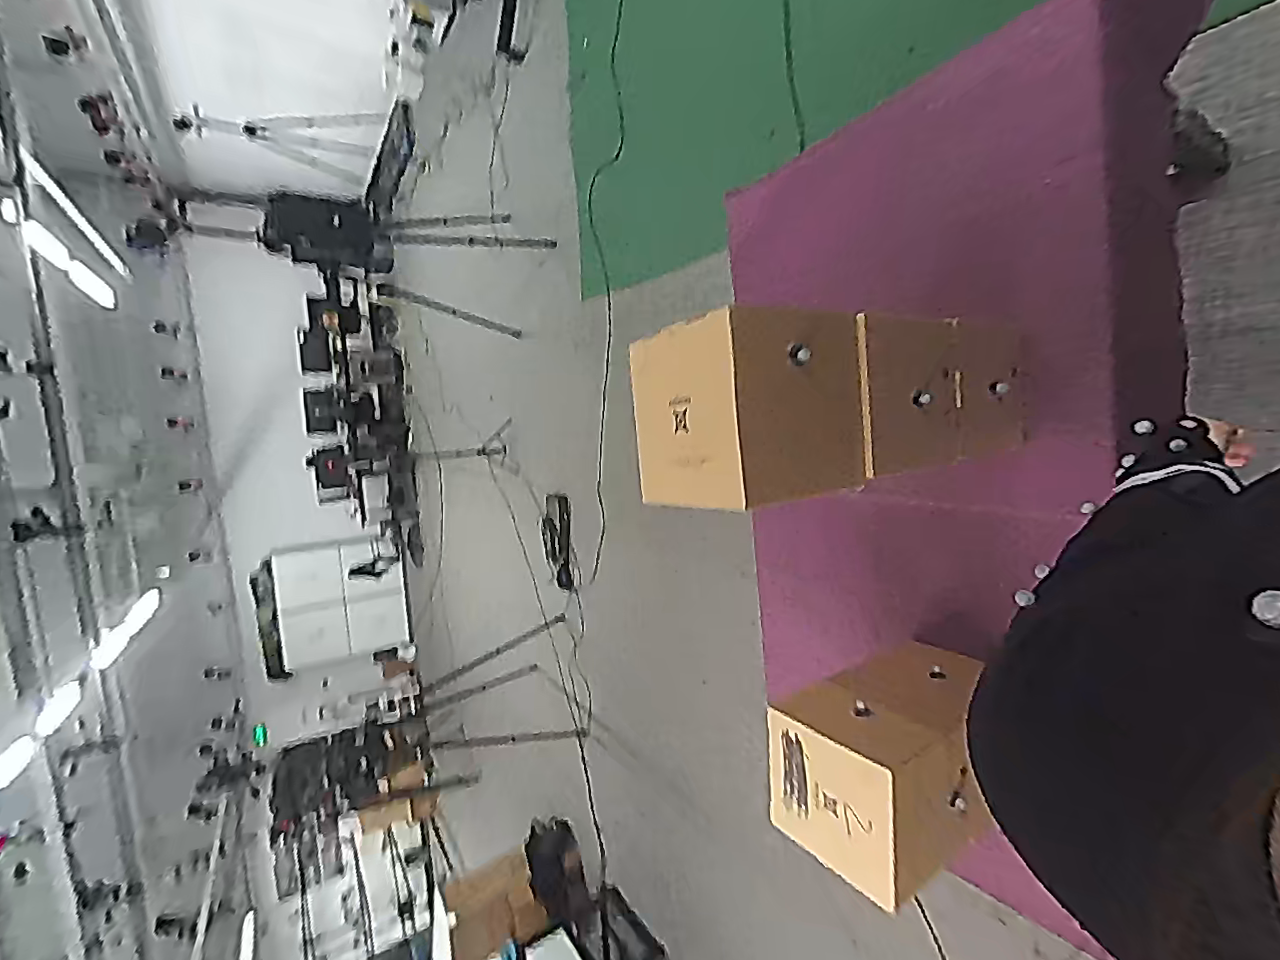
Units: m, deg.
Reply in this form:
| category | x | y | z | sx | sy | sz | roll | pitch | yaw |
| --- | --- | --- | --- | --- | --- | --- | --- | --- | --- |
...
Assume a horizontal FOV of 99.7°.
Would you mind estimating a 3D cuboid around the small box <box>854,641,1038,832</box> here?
| category | x | y | z | sx | sy | sz | roll | pitch | yaw |
| --- | --- | --- | --- | --- | --- | --- | --- | --- | --- |
| small box | 0.433 | 0.346 | 0.774 | 0.179 | 0.176 | 0.168 | 4 | 100 | 56 |

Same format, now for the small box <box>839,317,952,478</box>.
| category | x | y | z | sx | sy | sz | roll | pitch | yaw |
| --- | --- | --- | --- | --- | --- | --- | --- | --- | --- |
| small box | 0.253 | -0.094 | 0.651 | 0.179 | 0.176 | 0.168 | 1 | 97 | 57 |

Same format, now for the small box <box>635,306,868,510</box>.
| category | x | y | z | sx | sy | sz | roll | pitch | yaw |
| --- | --- | --- | --- | --- | --- | --- | --- | --- | --- |
| small box | 0.115 | -0.071 | 0.567 | 0.168 | 0.176 | 0.179 | 1 | 99 | 58 |
